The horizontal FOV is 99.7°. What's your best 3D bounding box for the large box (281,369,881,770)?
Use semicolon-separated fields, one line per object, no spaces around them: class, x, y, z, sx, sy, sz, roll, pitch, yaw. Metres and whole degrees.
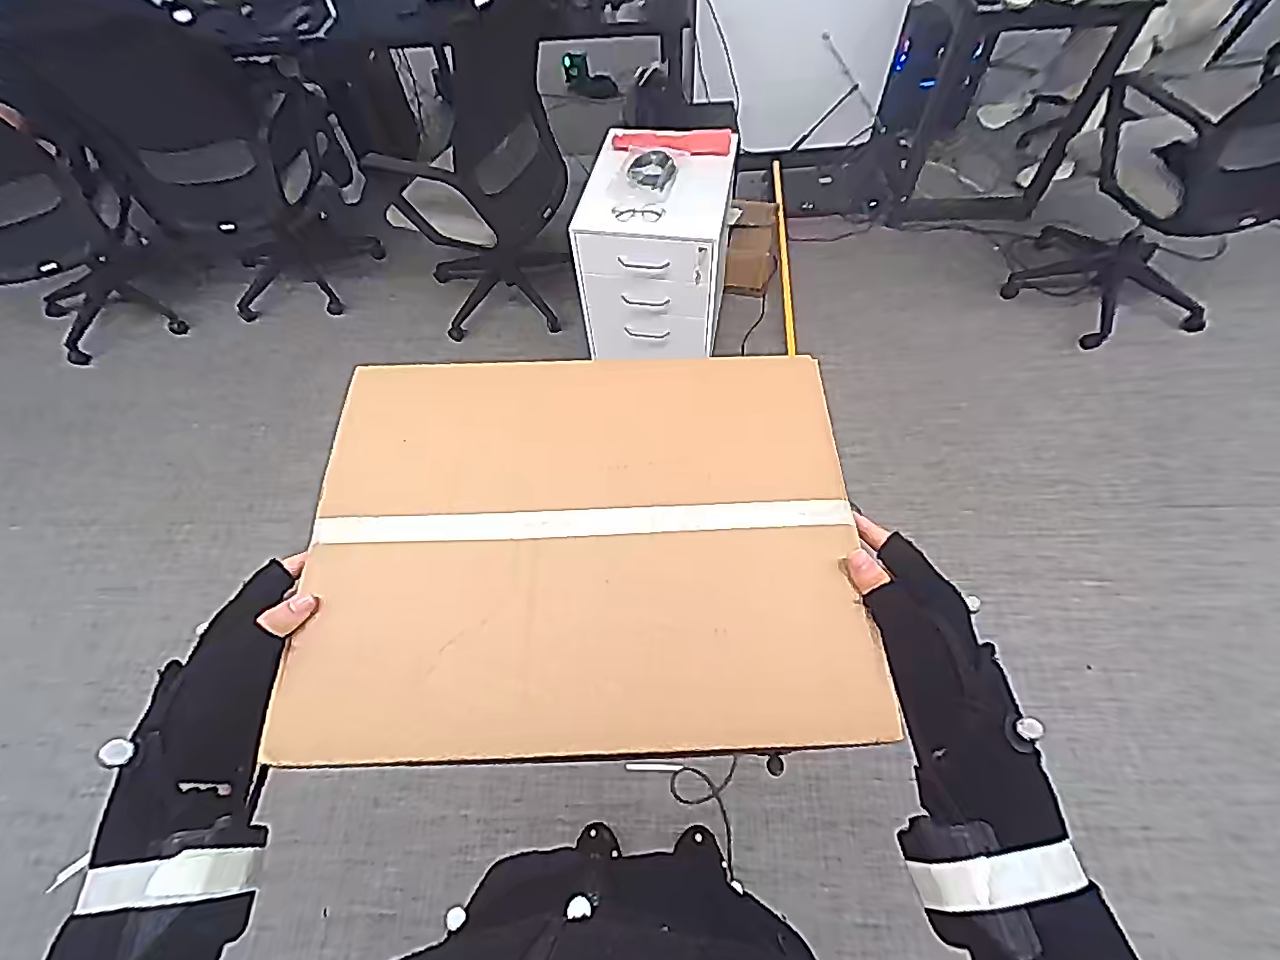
large box;-0.042;0.108;0.553;0.408;0.320;0.320;-1;62;-2
